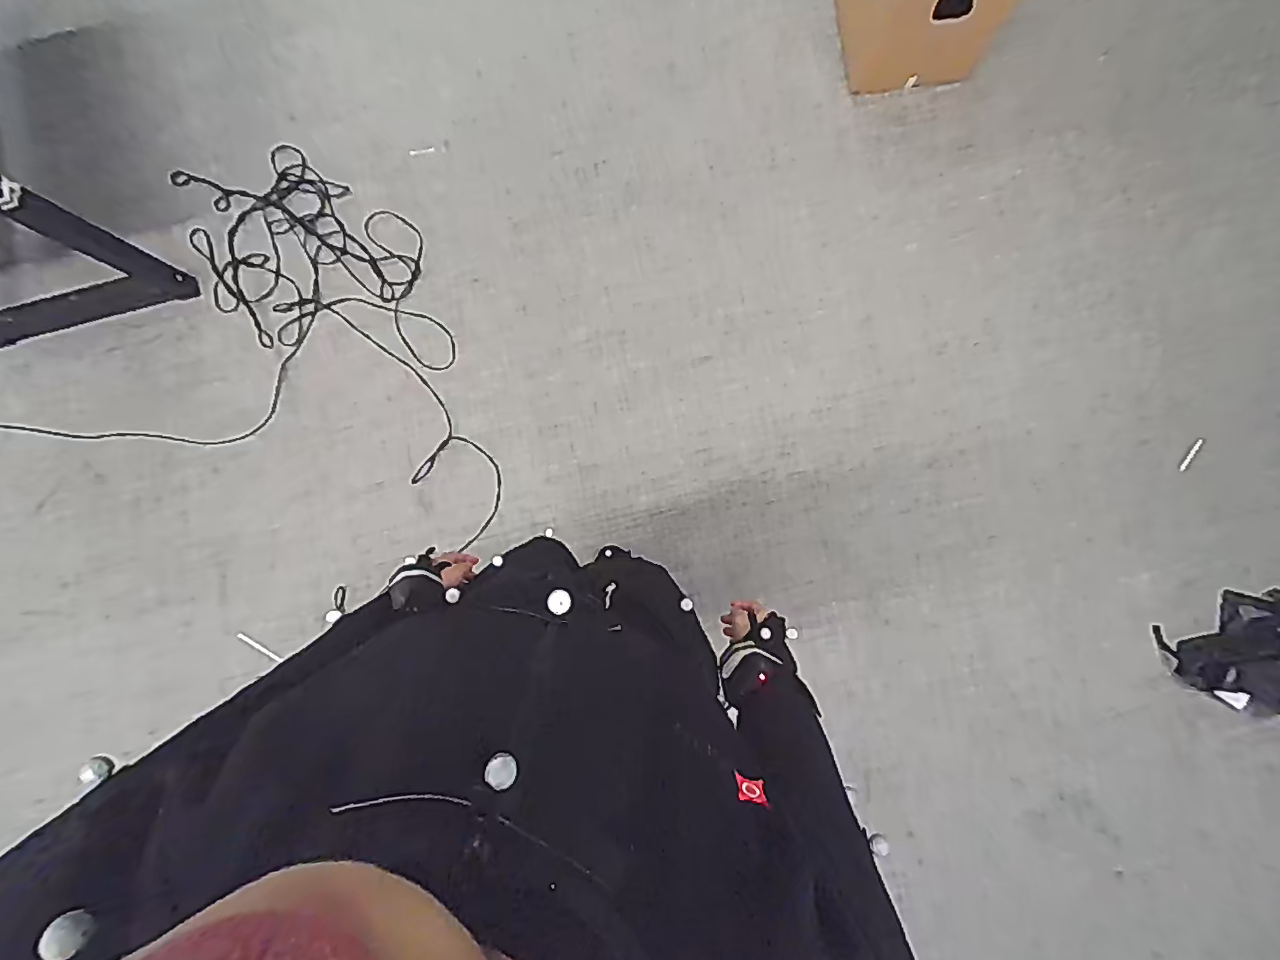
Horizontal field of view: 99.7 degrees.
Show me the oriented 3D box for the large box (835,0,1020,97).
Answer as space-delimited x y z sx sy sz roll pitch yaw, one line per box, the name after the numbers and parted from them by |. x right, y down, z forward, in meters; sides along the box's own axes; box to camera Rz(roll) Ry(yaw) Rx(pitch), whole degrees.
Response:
0.696 -1.265 1.335 0.320 0.320 0.408 -8 86 2 | large box
